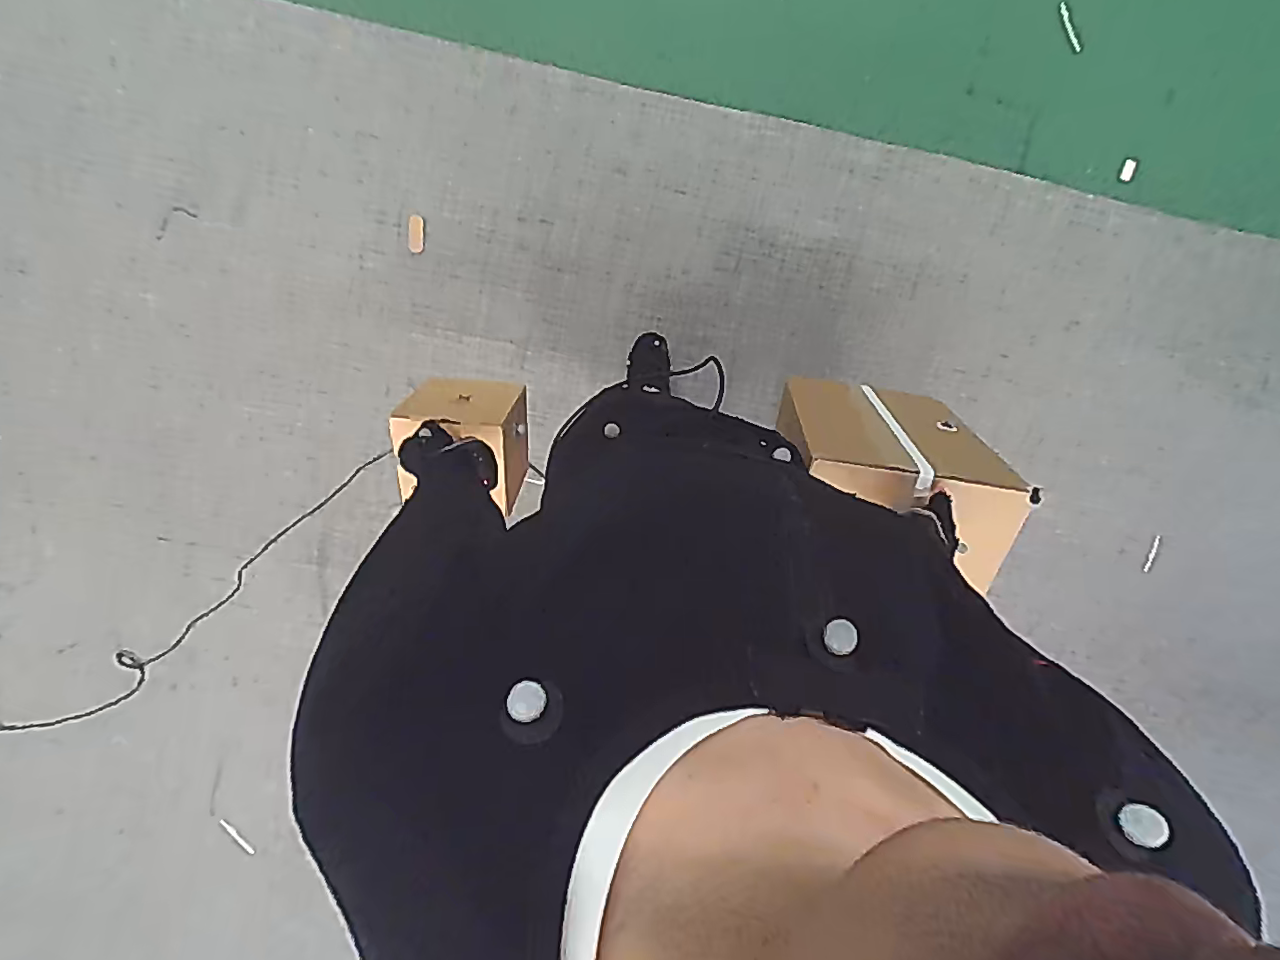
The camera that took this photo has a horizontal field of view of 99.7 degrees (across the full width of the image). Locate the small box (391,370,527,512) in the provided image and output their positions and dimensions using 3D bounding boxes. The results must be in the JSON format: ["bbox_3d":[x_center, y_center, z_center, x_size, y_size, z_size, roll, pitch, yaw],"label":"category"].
[{"bbox_3d":[-0.285,-0.068,0.892,0.168,0.179,0.176,4,121,-1],"label":"small box"}]
